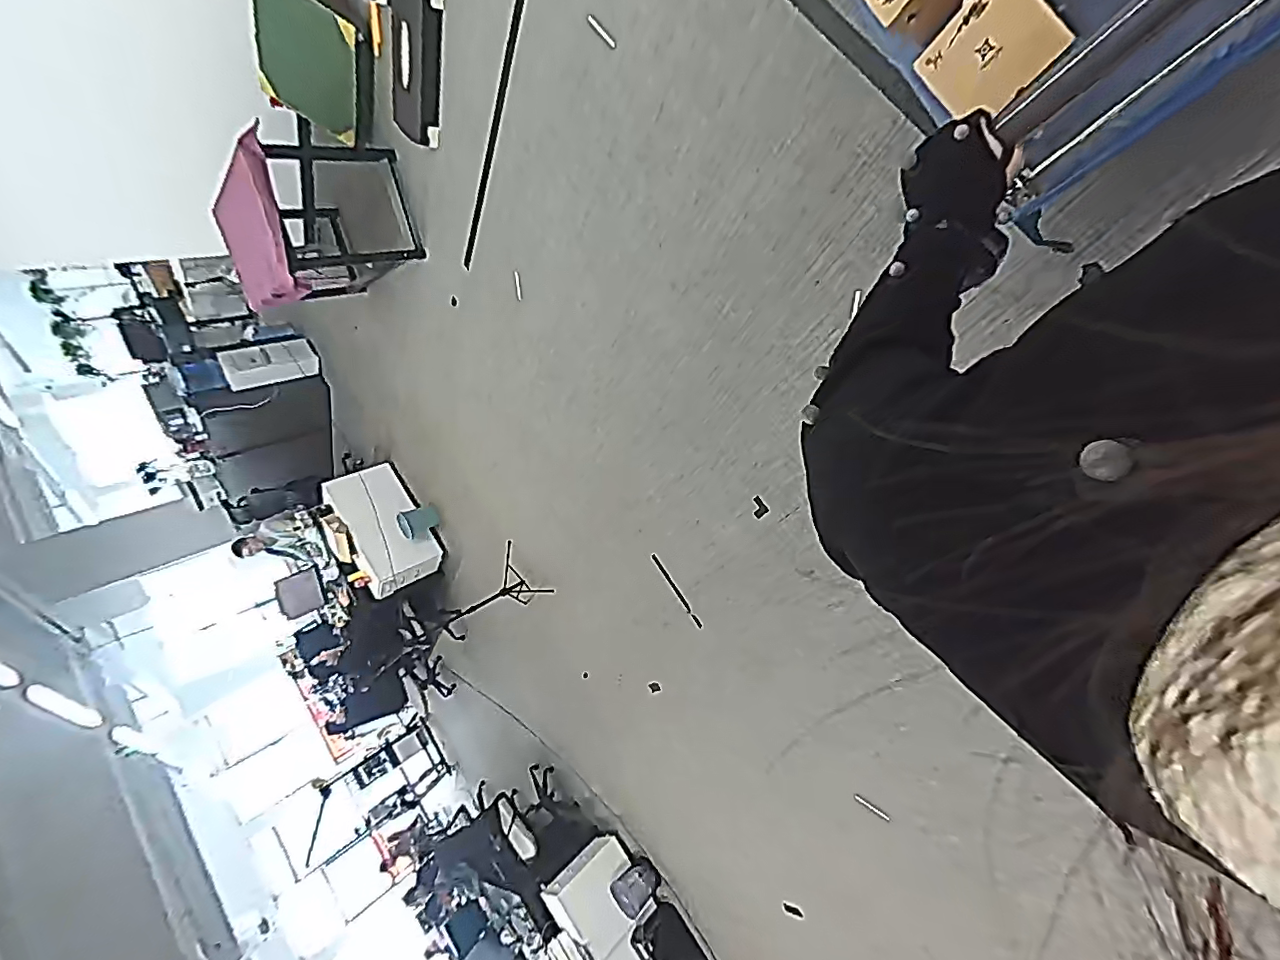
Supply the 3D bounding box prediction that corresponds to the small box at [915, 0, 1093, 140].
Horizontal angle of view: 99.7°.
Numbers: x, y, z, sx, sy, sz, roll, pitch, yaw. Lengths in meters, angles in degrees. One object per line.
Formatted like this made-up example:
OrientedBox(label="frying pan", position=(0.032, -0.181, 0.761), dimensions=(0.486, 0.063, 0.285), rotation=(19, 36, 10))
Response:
OrientedBox(label="small box", position=(0.613, -0.708, 0.909), dimensions=(0.179, 0.176, 0.168), rotation=(57, 140, 8))
